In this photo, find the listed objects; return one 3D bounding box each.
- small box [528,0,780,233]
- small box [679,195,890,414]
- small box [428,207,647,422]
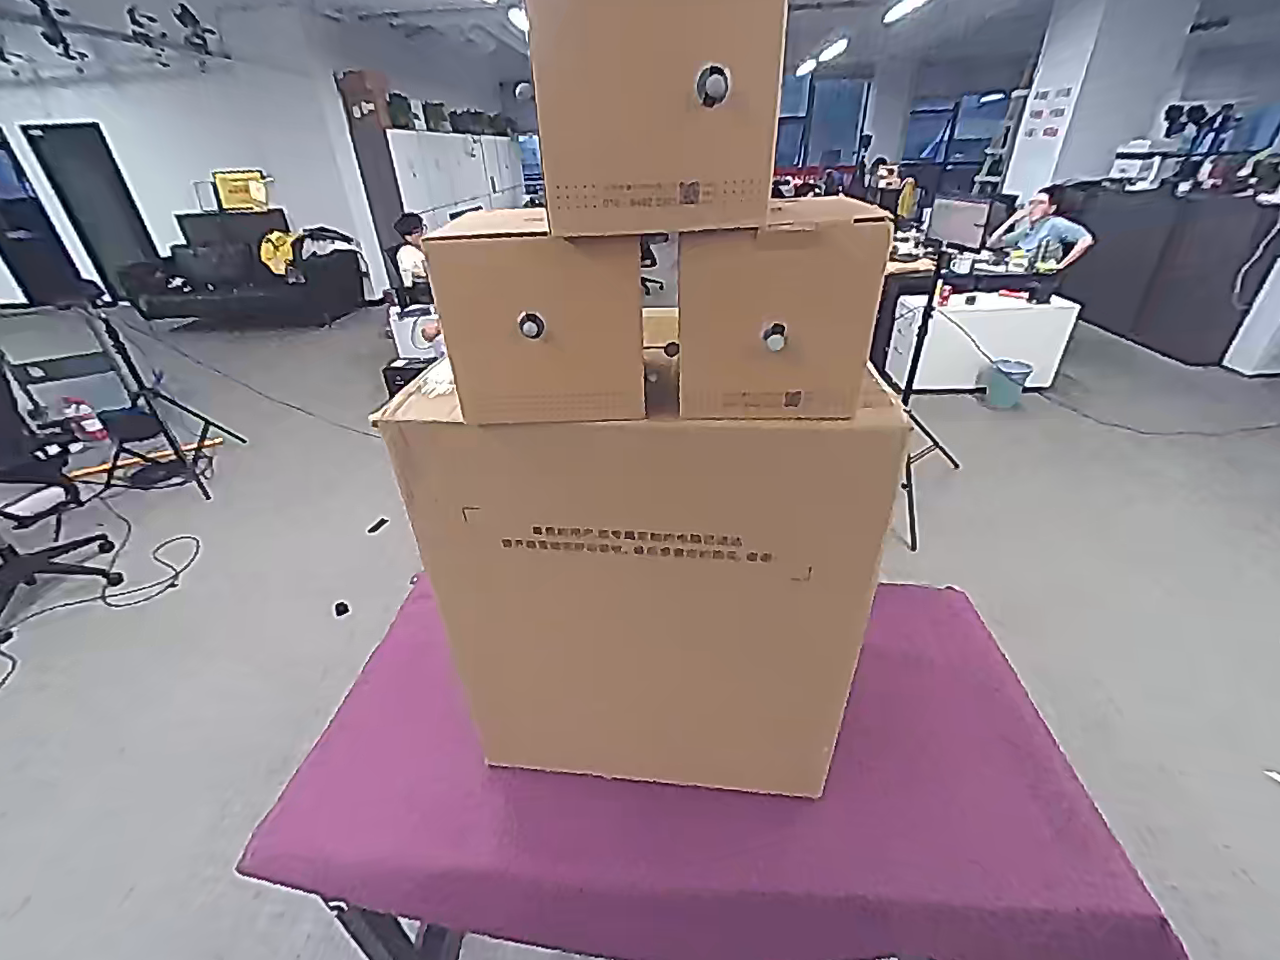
[{"bbox_3d":[0.008,-0.299,0.437,0.168,0.176,0.179,-4,31,-4],"label":"small box"},{"bbox_3d":[0.124,-0.174,0.533,0.168,0.176,0.179,1,33,5],"label":"small box"},{"bbox_3d":[-0.081,-0.168,0.540,0.179,0.176,0.168,-3,32,1],"label":"small box"}]
